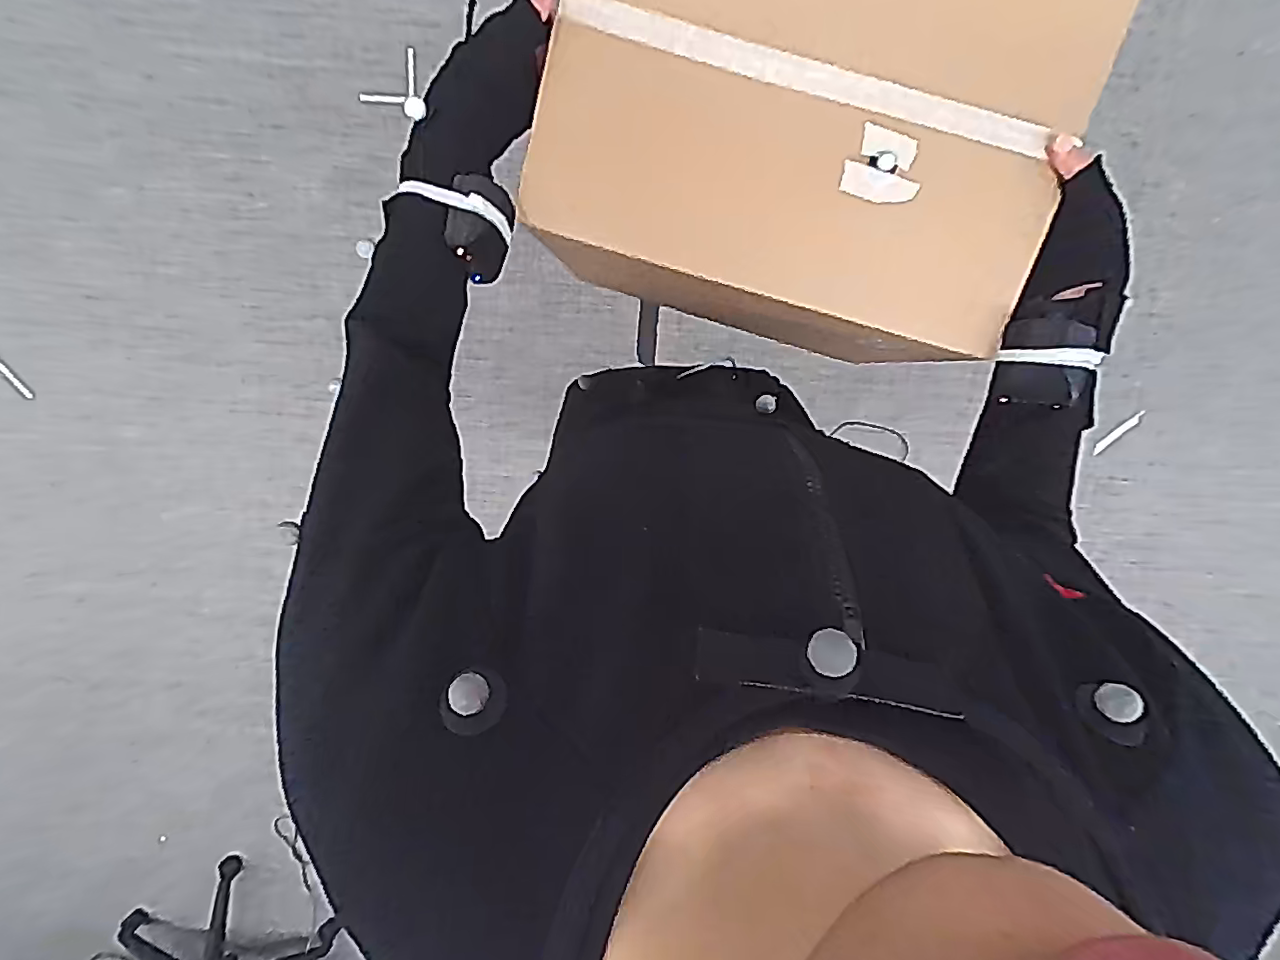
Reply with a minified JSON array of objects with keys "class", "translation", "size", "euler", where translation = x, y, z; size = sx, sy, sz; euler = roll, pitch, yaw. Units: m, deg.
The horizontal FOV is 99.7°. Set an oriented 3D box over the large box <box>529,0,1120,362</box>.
[{"class":"large box","translation":[0.139,-0.328,0.568],"size":[0.408,0.320,0.320],"euler":[16,103,-1]}]
